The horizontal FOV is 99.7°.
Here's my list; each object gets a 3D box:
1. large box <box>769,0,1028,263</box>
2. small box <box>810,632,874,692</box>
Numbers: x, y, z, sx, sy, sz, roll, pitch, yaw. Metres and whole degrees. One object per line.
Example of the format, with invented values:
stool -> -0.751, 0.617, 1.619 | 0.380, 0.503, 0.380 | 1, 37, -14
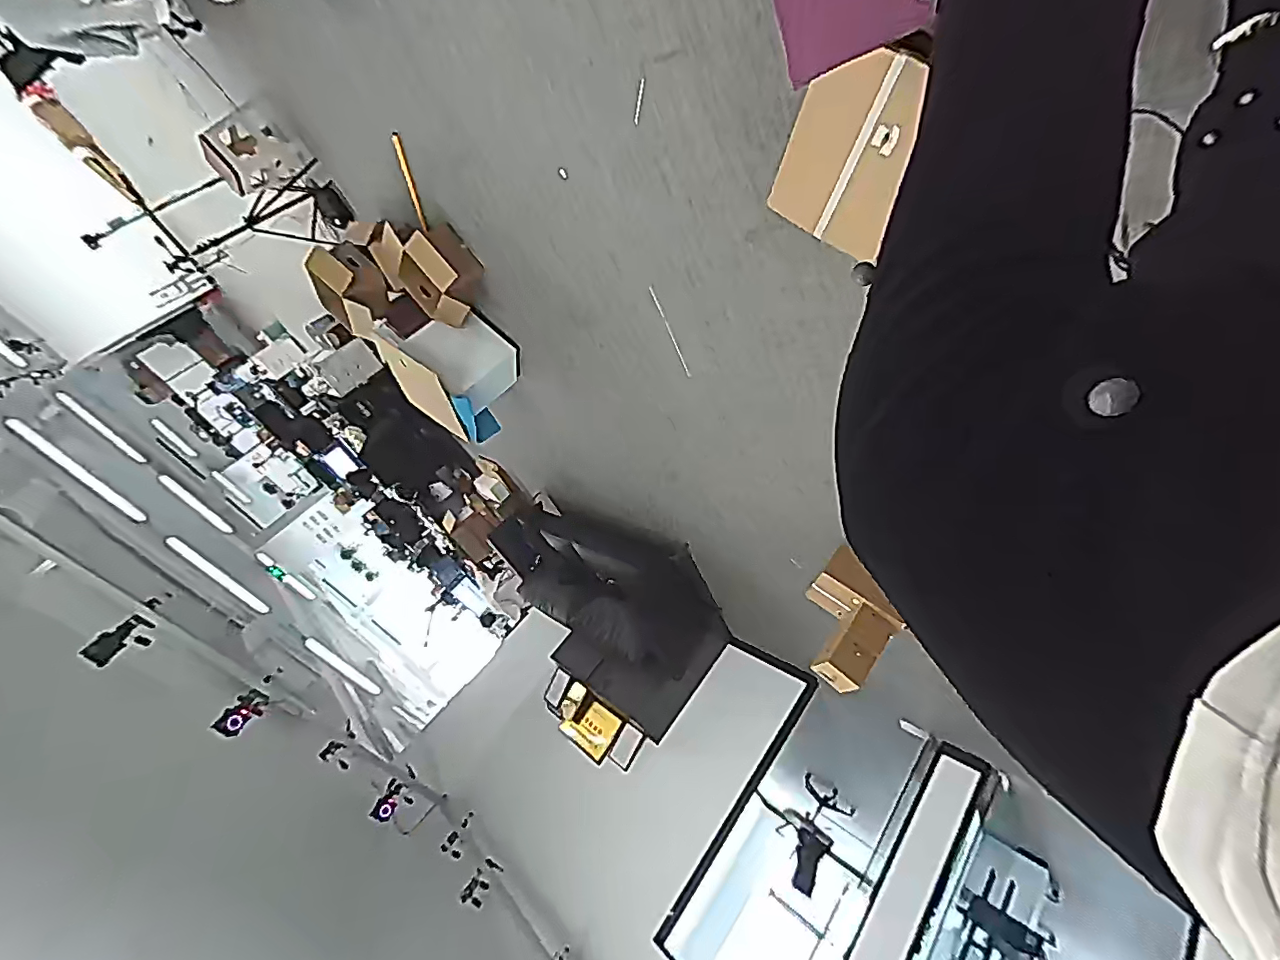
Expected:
large box -> 0.556, -0.799, 1.230 | 0.320, 0.320, 0.408 | 37, 154, 11
small box -> 0.874, 0.785, 2.333 | 0.168, 0.176, 0.179 | 39, 154, 10
